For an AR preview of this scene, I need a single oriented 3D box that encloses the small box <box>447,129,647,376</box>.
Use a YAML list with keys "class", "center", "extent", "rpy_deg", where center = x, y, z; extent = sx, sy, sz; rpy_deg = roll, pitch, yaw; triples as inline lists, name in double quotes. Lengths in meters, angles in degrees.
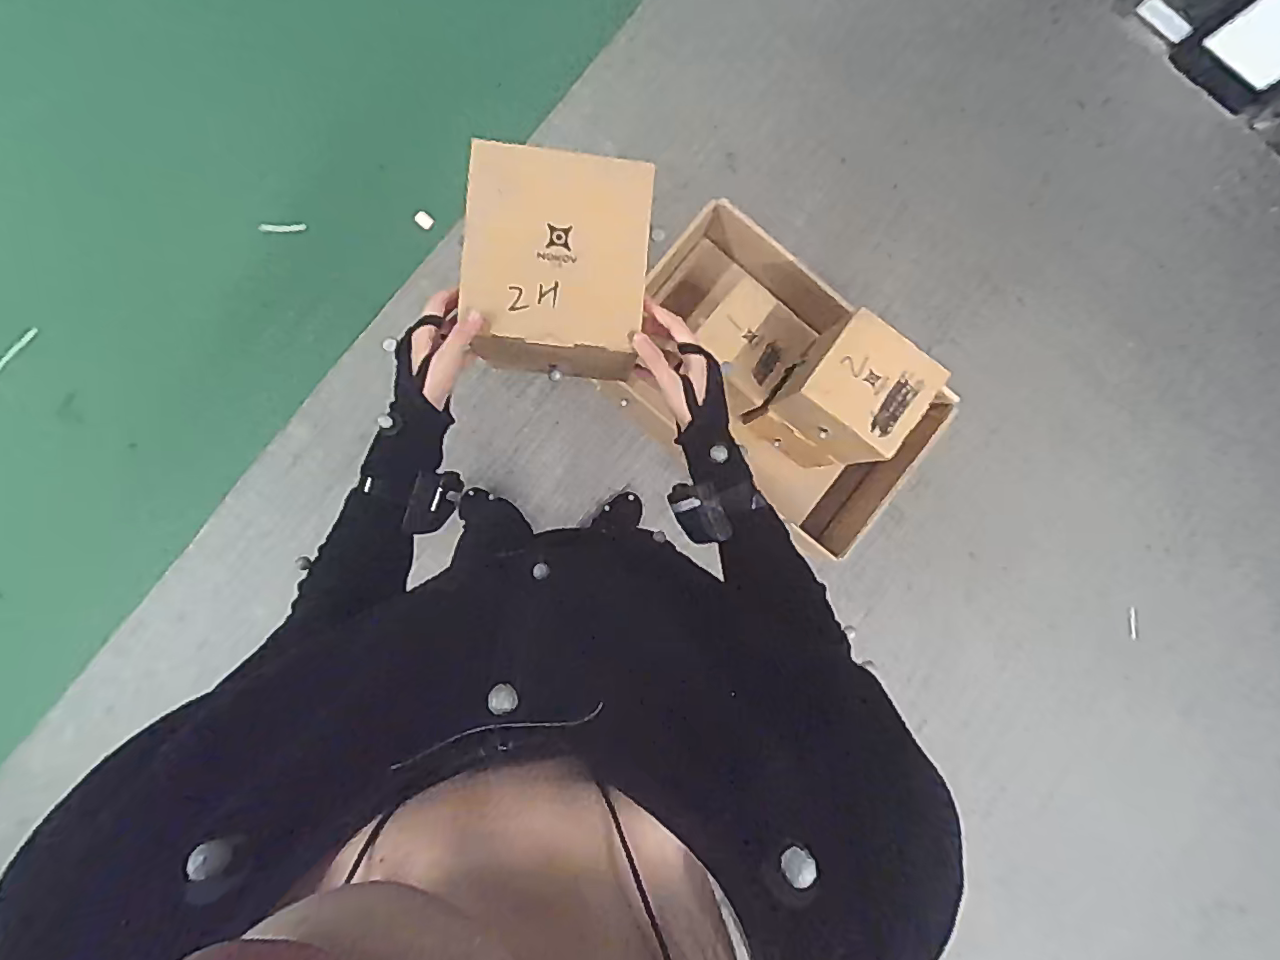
- class: "small box"
  center: [-0.089, -0.216, 0.559]
  extent: [0.168, 0.176, 0.179]
  rpy_deg: [4, 90, -5]
